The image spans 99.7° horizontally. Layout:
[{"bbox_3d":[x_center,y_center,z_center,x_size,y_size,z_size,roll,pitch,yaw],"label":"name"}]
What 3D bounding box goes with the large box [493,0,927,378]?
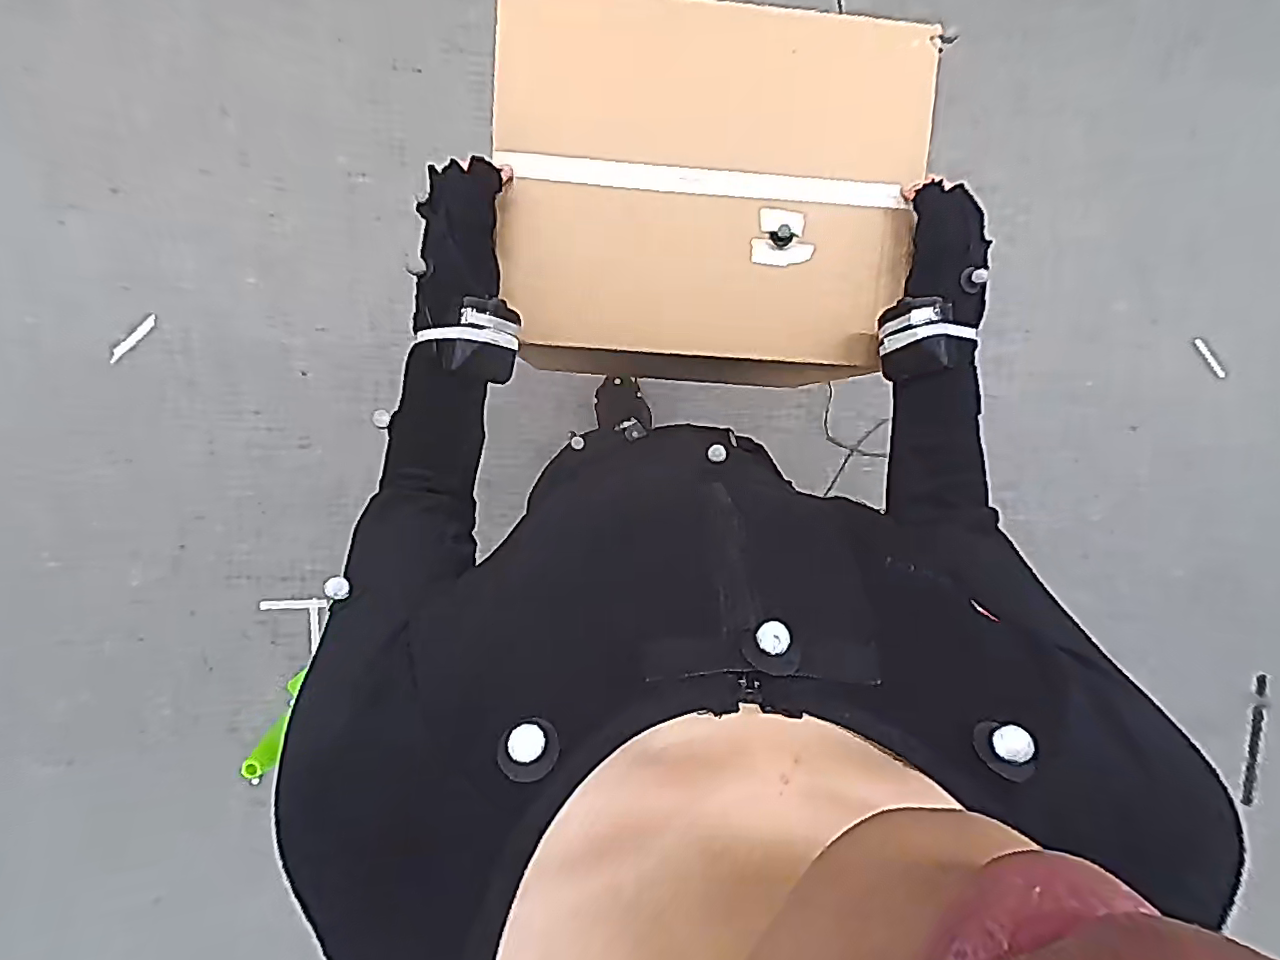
[{"bbox_3d":[0.054,-0.299,0.653,0.408,0.320,0.320,3,96,-4],"label":"large box"}]
